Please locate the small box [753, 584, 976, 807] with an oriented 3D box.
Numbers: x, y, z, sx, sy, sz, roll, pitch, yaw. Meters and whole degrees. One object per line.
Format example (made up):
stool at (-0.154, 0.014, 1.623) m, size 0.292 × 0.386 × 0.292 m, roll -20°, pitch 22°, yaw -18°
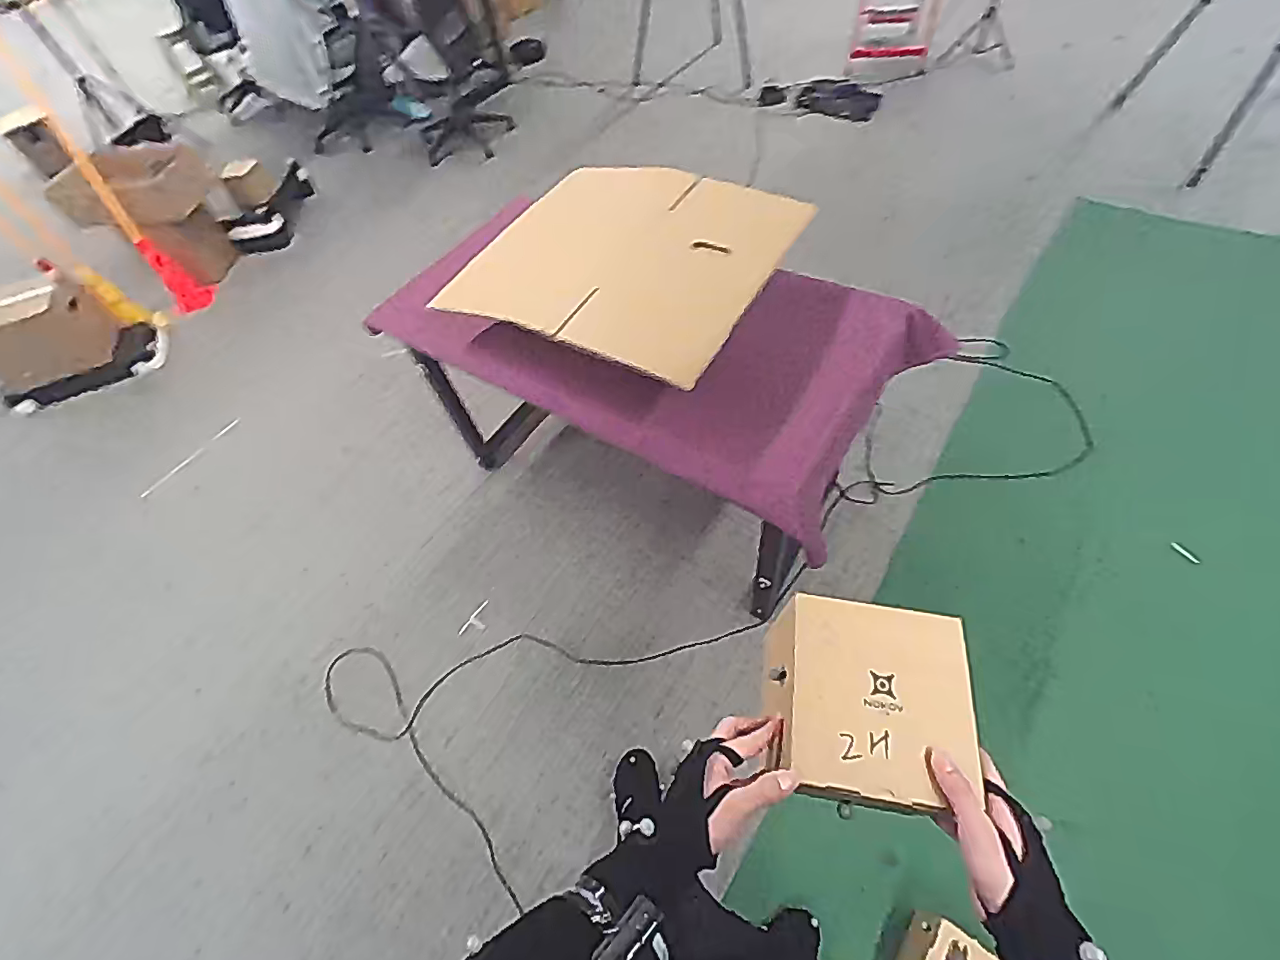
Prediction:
small box at (0.218, 0.231, 0.572) m, size 0.168 × 0.176 × 0.179 m, roll 7°, pitch 60°, yaw 6°
